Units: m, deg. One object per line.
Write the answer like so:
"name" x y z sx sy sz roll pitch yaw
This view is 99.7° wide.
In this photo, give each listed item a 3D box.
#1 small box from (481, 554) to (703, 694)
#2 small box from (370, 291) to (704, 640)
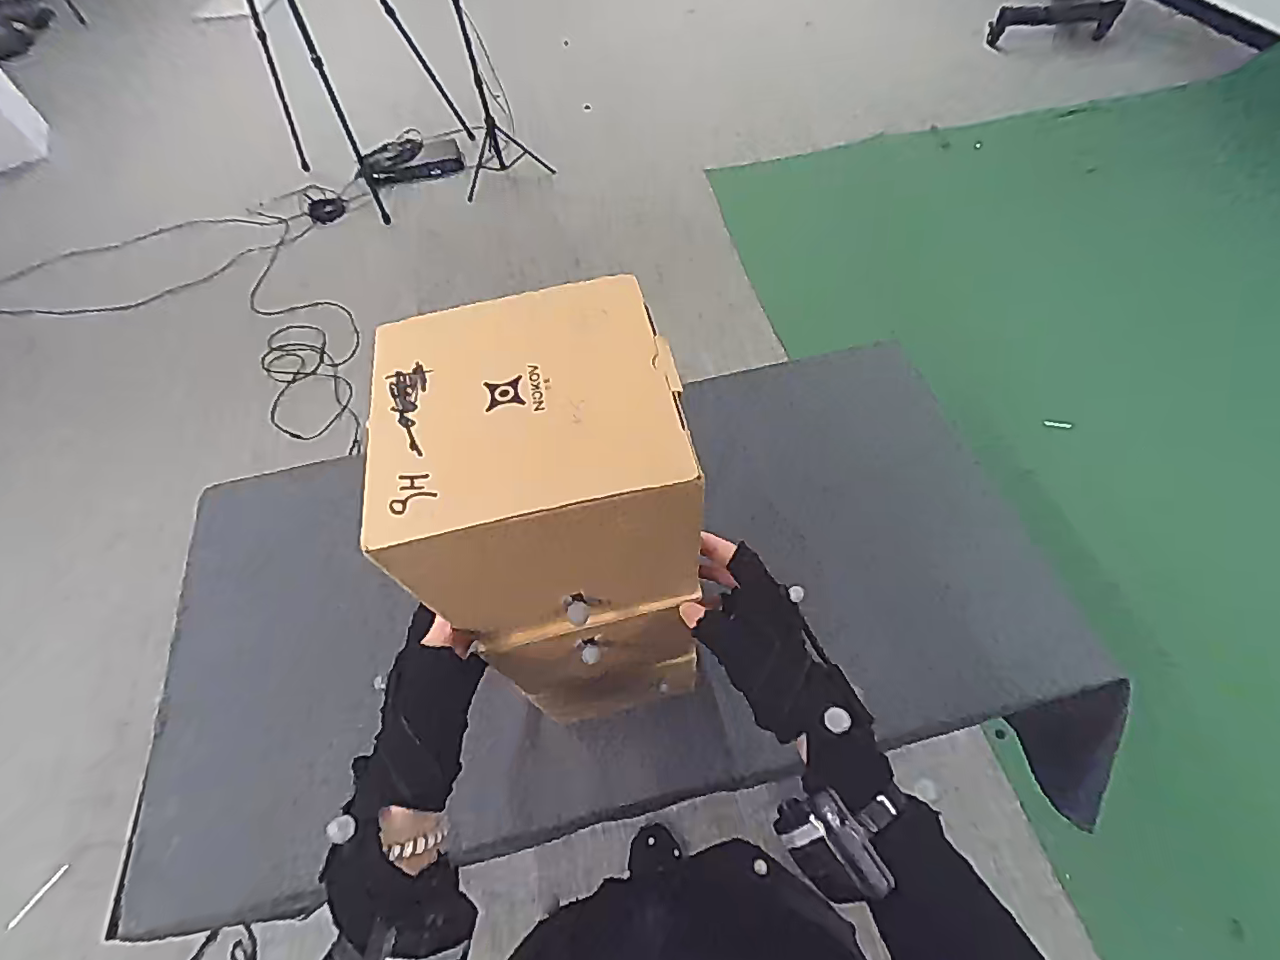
"small box" -0.048 0.090 0.521 0.179 0.176 0.168 -14 57 -4
"small box" -0.063 -0.002 0.386 0.179 0.176 0.168 -11 57 -3
